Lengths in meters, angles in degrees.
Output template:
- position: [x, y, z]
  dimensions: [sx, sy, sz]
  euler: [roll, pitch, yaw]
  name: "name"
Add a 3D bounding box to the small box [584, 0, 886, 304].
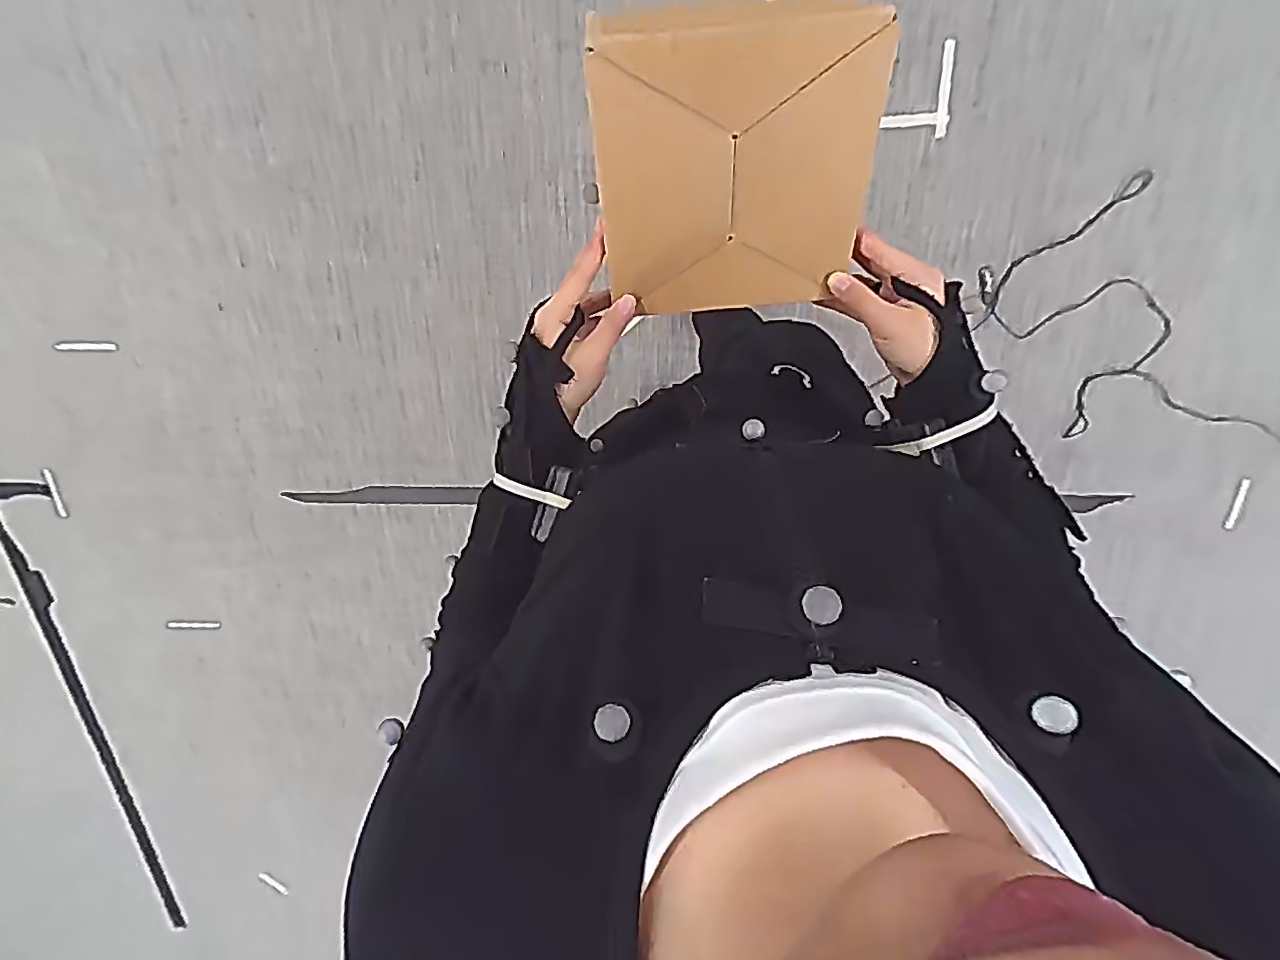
- position: [0.054, -0.250, 0.409]
  dimensions: [0.179, 0.176, 0.168]
  euler: [-4, 136, 1]
  name: "small box"
